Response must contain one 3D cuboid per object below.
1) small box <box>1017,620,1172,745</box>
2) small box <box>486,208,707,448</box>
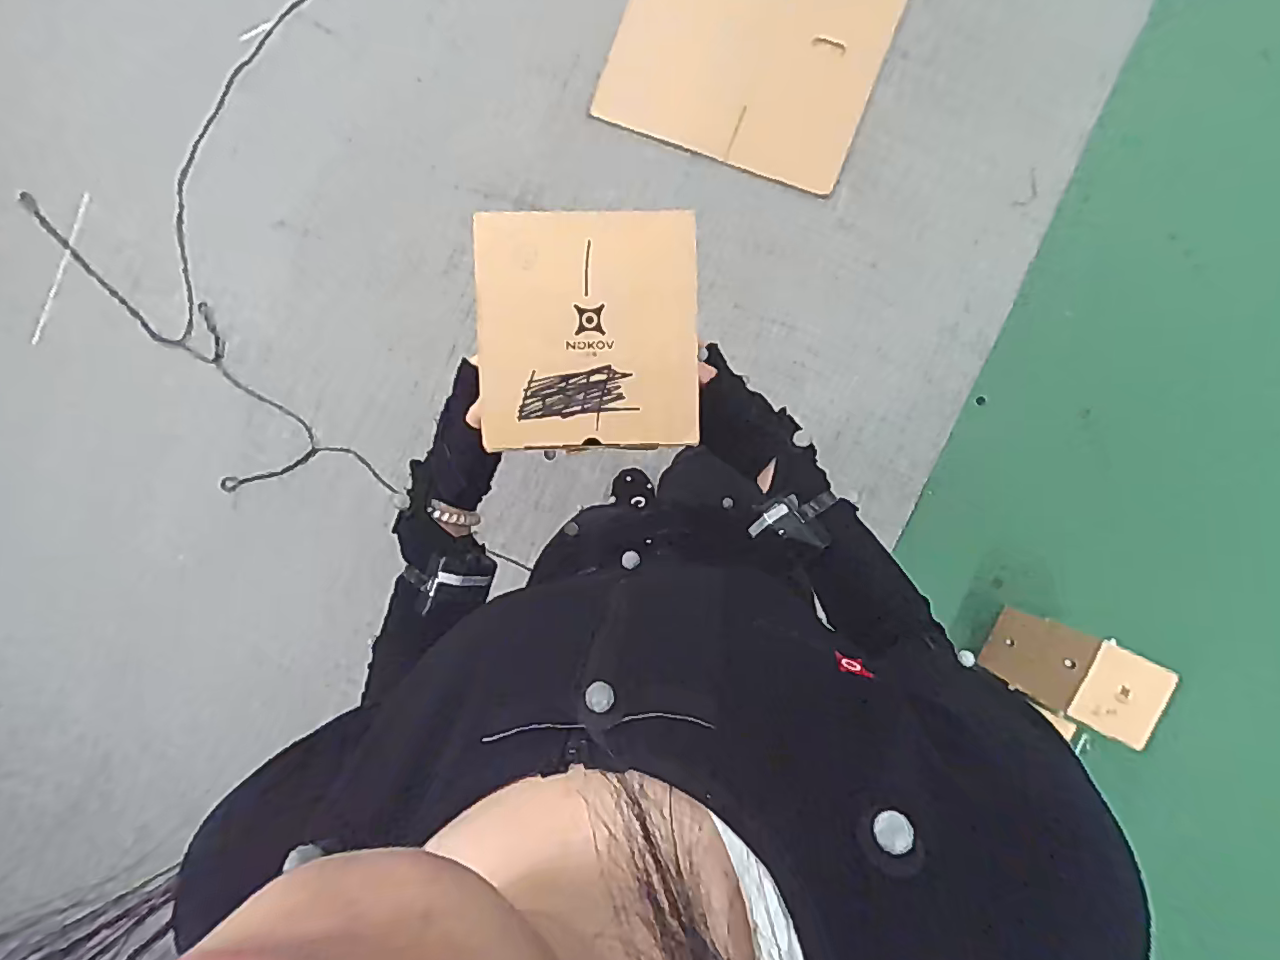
[{"bbox_3d":[0.987,0.434,1.193,0.168,0.176,0.179,26,92,3],"label":"small box"},{"bbox_3d":[-0.035,-0.121,0.485,0.168,0.176,0.179,-1,95,-3],"label":"small box"}]
